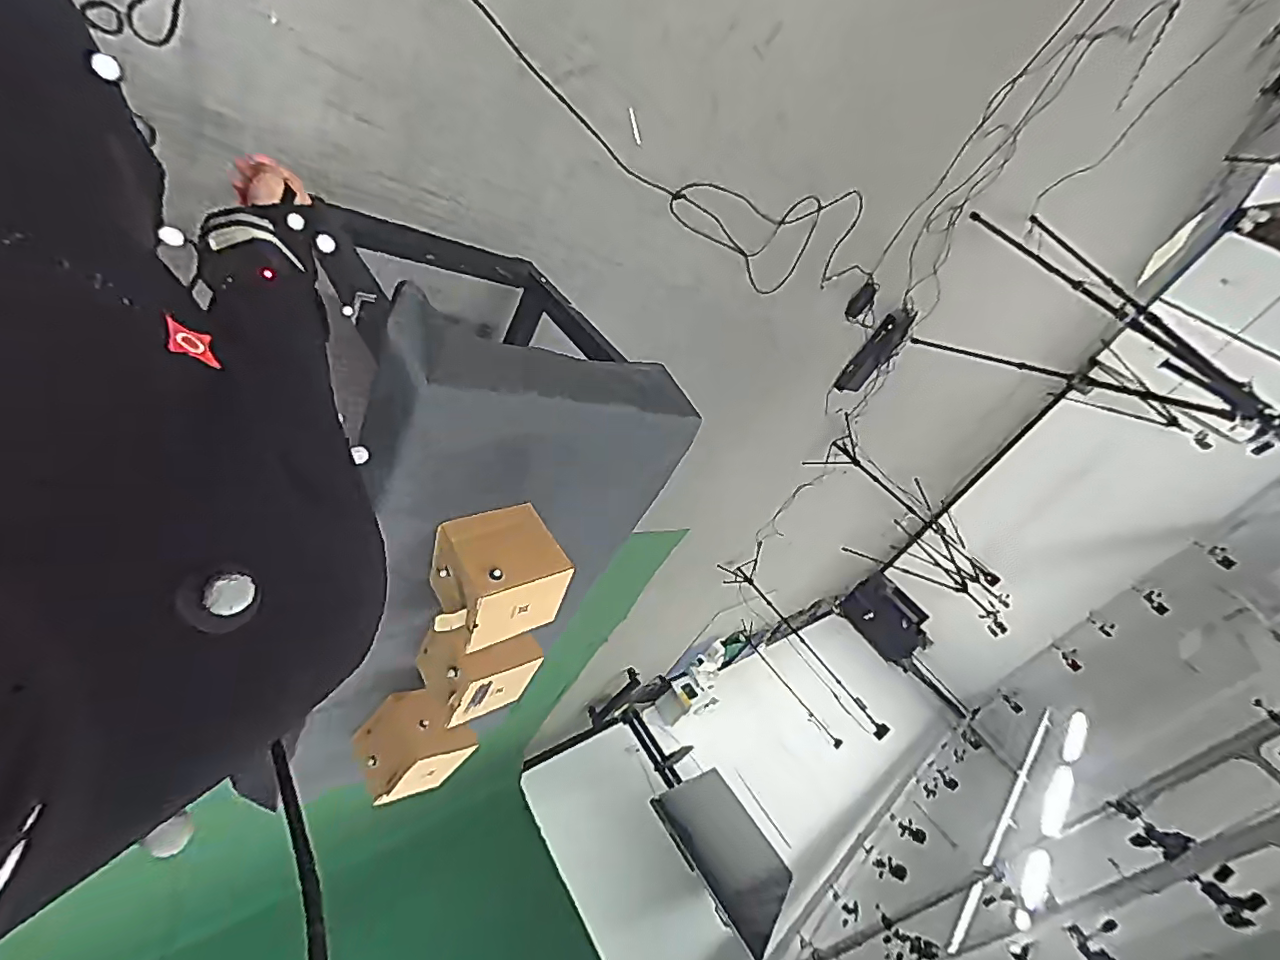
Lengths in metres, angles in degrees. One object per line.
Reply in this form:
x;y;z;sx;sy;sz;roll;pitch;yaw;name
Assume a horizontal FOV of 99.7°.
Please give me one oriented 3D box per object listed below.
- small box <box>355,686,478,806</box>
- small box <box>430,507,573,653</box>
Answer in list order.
-0.518;0.601;1.247;0.168;0.176;0.179;-46;151;12;small box
-0.252;0.169;0.967;0.179;0.176;0.168;-13;142;-39;small box
